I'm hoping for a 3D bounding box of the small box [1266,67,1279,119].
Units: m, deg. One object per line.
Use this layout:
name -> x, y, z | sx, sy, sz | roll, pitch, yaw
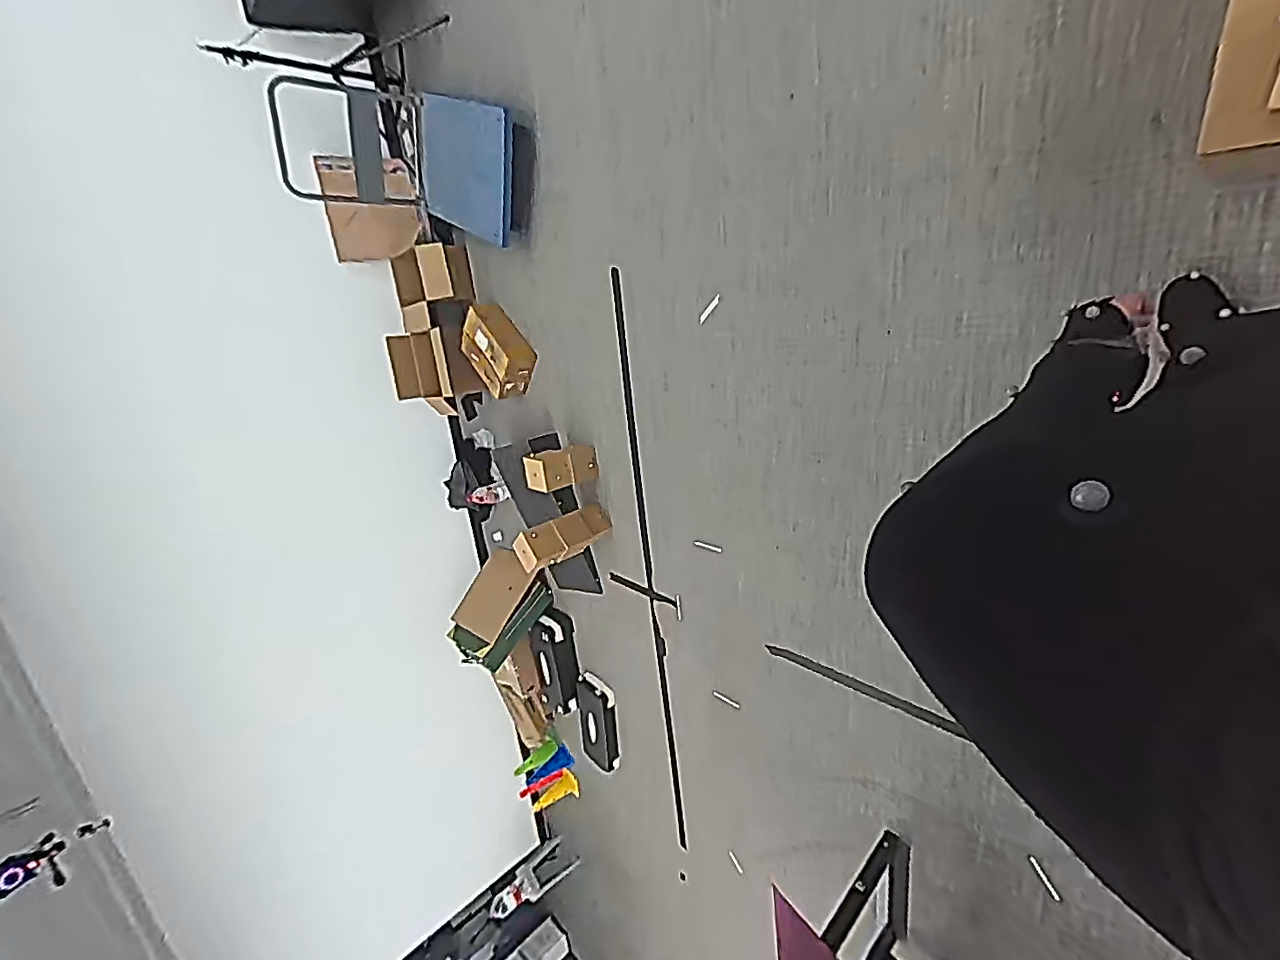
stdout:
small box -> 0.891, -0.541, 0.631 | 0.179, 0.176, 0.168 | 19, 121, 43
